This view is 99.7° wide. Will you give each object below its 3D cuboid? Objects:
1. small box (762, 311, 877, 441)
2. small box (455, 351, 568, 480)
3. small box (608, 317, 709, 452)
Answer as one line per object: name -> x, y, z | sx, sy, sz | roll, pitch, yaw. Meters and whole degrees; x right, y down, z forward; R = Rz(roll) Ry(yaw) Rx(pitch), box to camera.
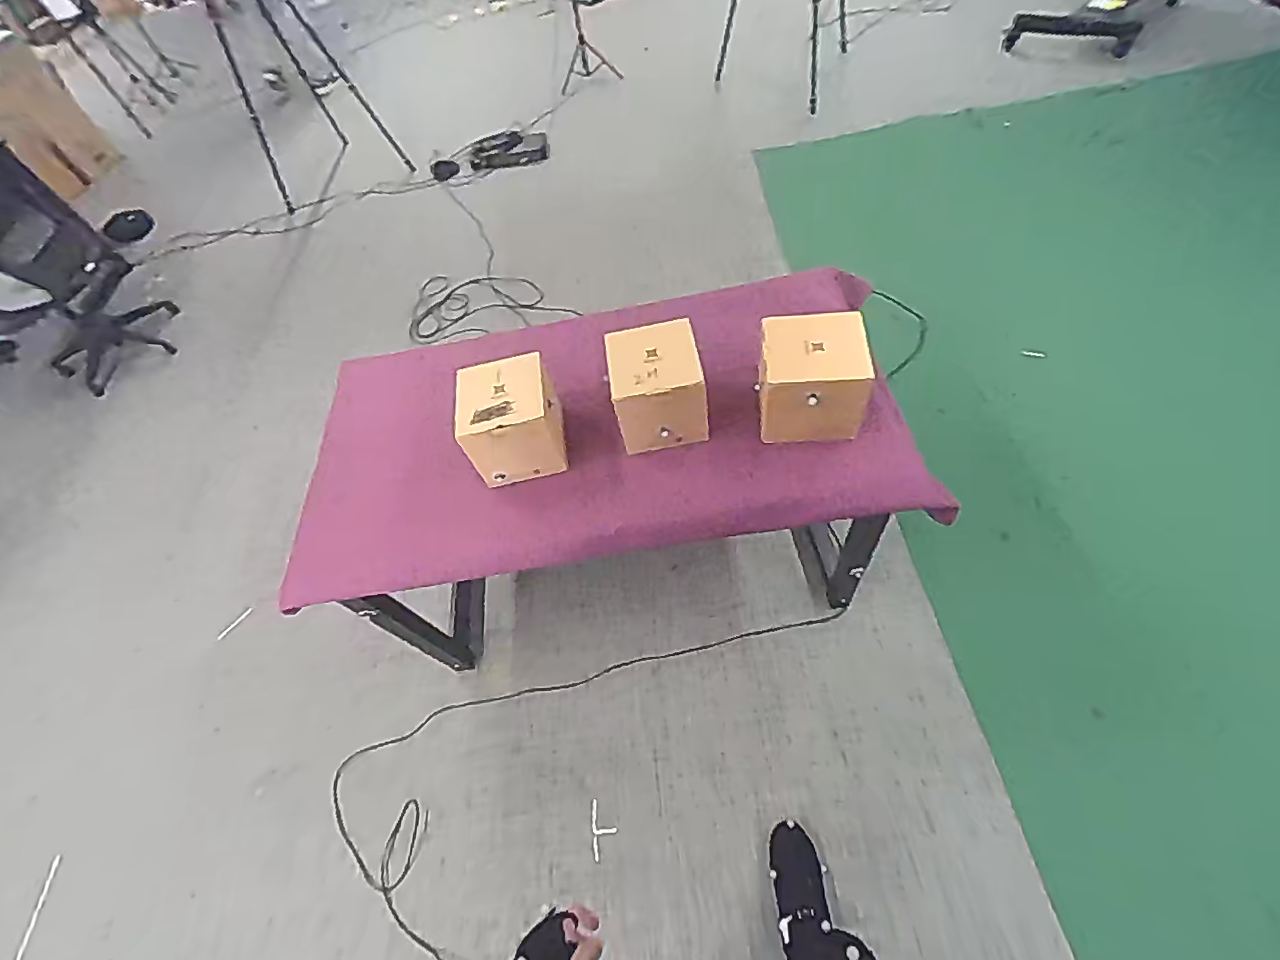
small box -> 0.319, -0.186, 0.997 | 0.179, 0.176, 0.168 | -2, 57, 11
small box -> -0.244, -0.116, 1.054 | 0.168, 0.176, 0.179 | -12, 55, 2
small box -> 0.037, -0.180, 1.044 | 0.168, 0.176, 0.179 | -10, 56, 5
